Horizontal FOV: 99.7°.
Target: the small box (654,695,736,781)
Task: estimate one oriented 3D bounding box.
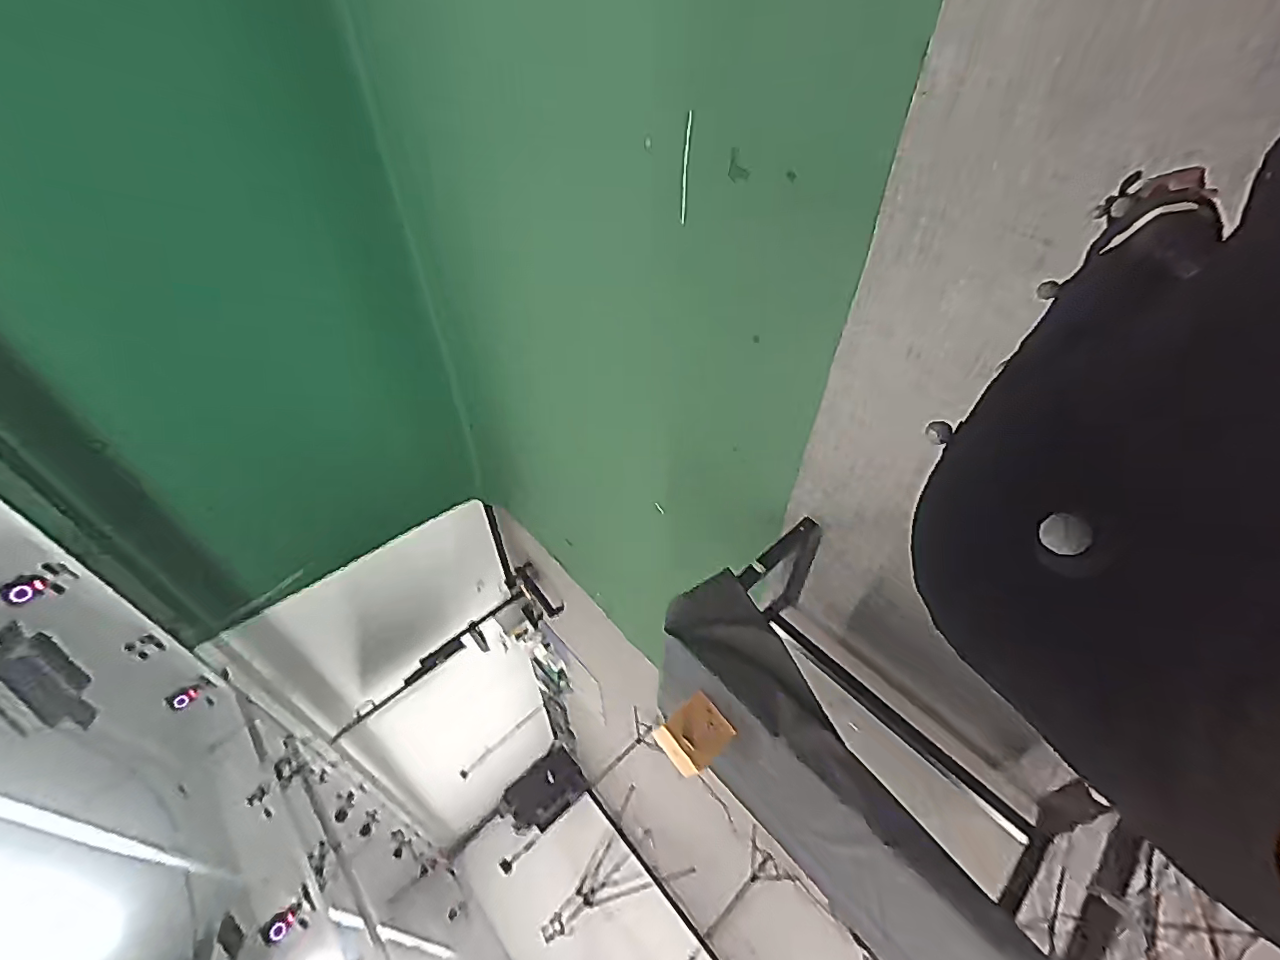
[{"bbox_3d":[0.172,0.804,1.687,0.168,0.176,0.179,48,150,18],"label":"small box"}]
